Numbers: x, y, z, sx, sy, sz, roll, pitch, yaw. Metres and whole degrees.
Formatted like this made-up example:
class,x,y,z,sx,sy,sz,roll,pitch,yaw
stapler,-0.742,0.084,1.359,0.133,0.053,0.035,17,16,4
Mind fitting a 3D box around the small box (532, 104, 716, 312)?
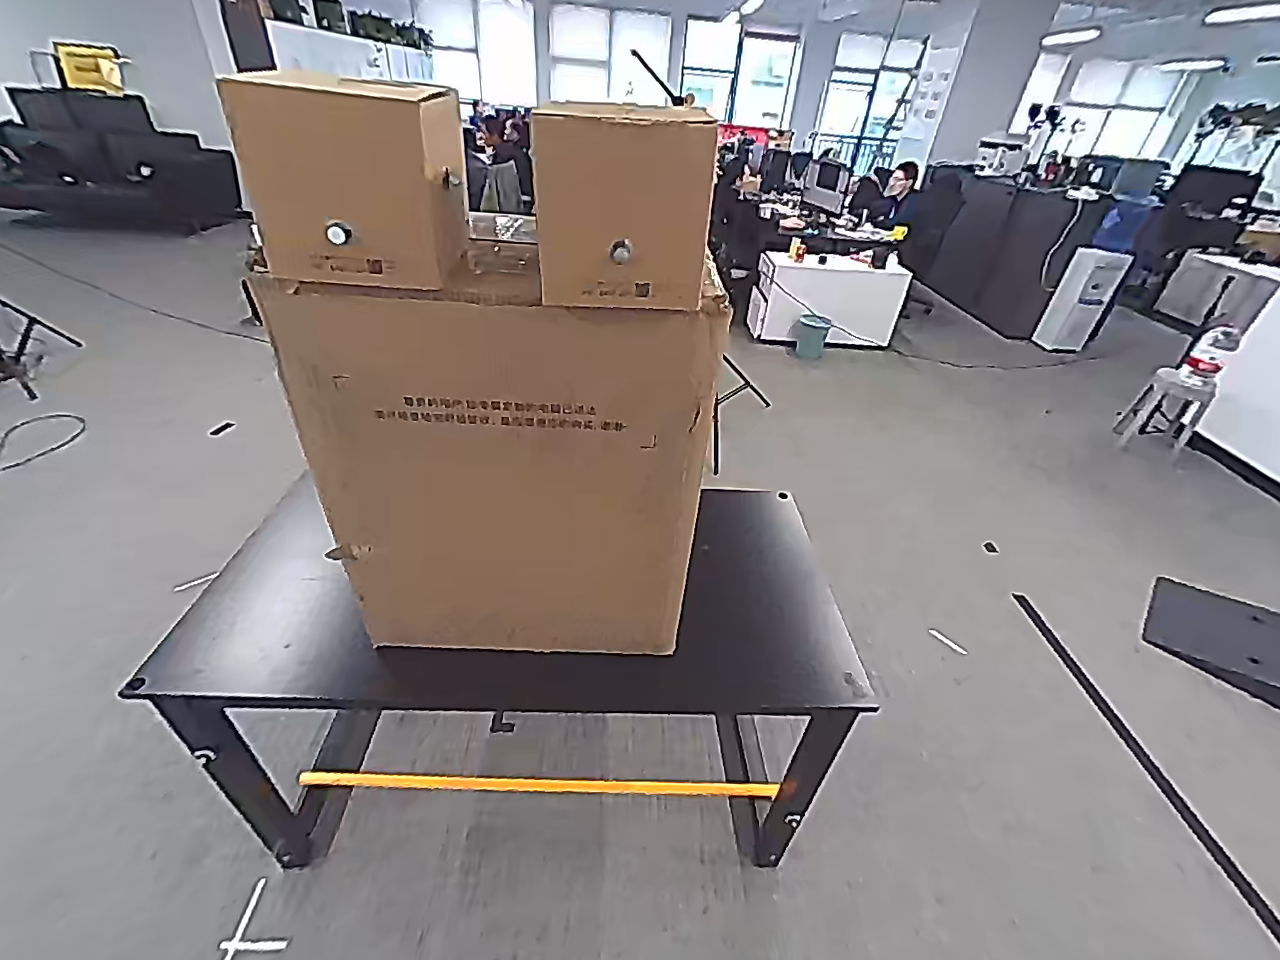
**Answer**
class,x,y,z,sx,sy,sz,roll,pitch,yaw
small box,-0.019,-0.295,0.584,0.168,0.176,0.179,1,38,-3
